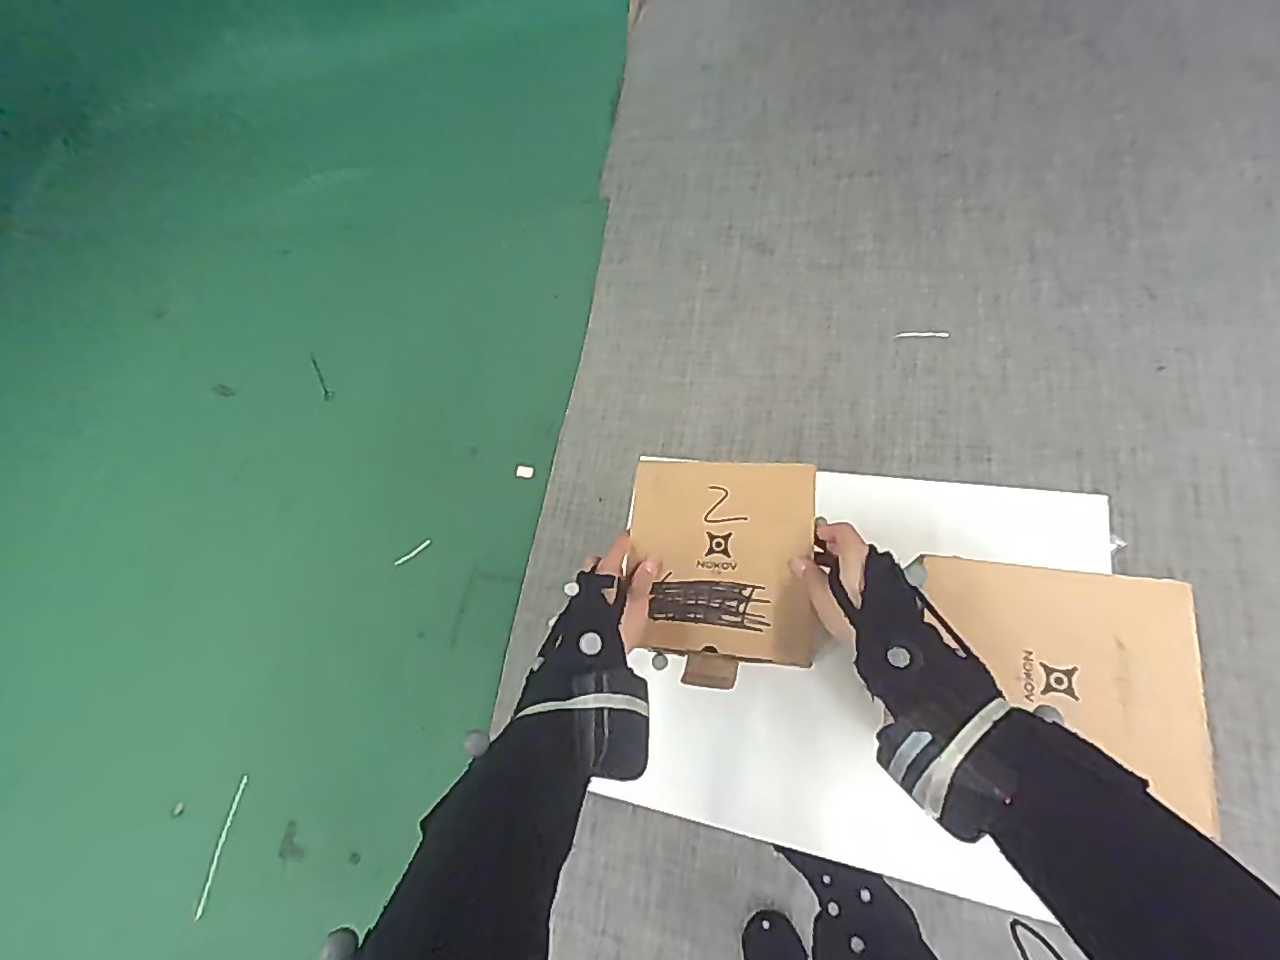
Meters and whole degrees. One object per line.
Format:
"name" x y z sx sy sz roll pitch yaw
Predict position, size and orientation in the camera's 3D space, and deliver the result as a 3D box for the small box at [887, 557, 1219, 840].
"small box" 0.316 0.169 0.460 0.179 0.176 0.168 4 74 17
